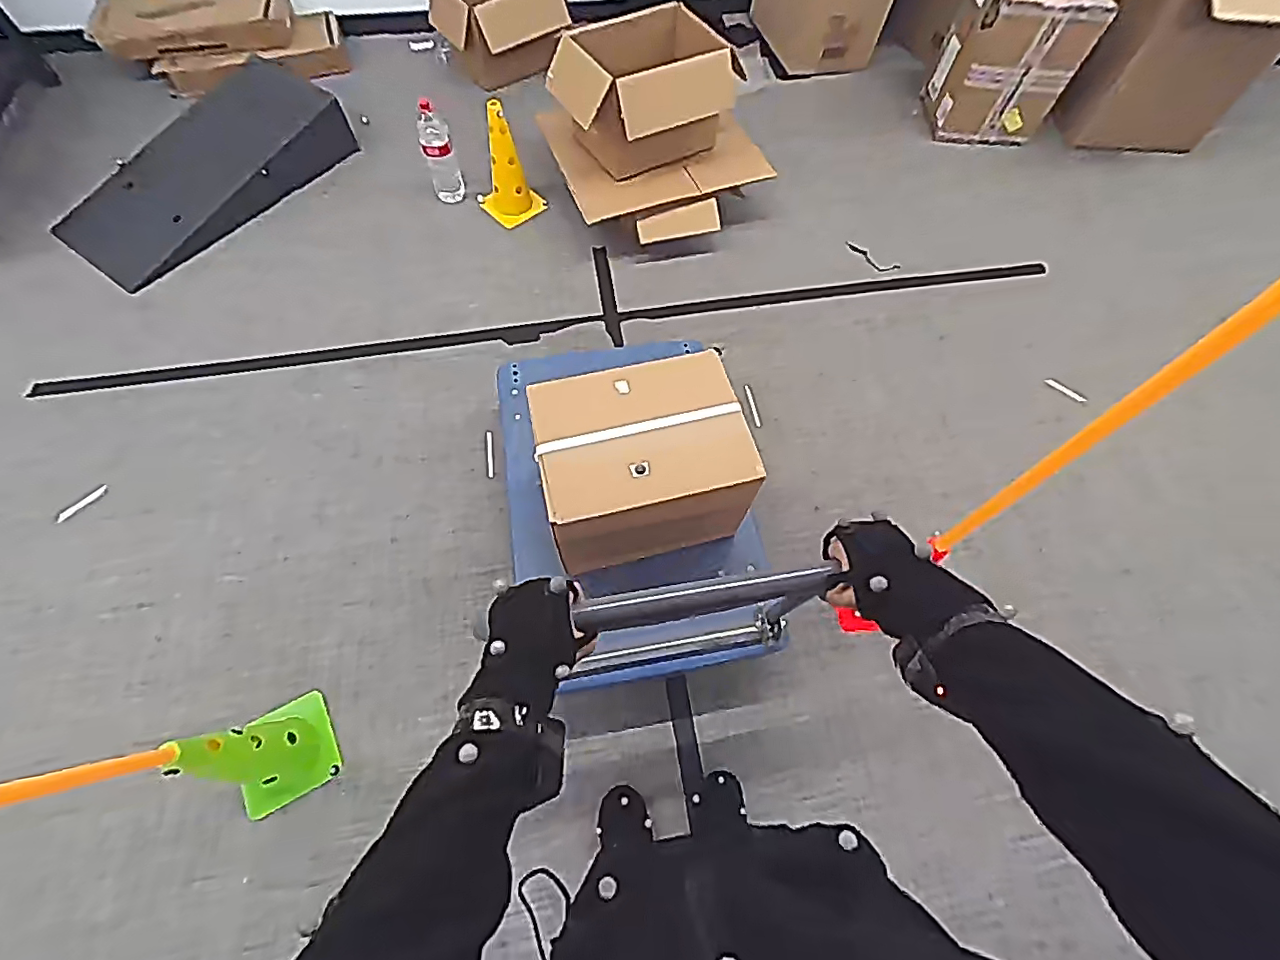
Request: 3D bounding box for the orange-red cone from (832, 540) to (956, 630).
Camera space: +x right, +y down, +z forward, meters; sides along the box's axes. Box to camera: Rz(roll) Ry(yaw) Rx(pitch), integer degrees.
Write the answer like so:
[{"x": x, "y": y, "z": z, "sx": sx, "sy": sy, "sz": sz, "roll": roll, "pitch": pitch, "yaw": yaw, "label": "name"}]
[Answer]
[{"x": 0.611, "y": 0.213, "z": 1.242, "sx": 0.199, "sy": 0.360, "sz": 0.198, "roll": -2, "pitch": 64, "yaw": -4, "label": "orange-red cone"}]
